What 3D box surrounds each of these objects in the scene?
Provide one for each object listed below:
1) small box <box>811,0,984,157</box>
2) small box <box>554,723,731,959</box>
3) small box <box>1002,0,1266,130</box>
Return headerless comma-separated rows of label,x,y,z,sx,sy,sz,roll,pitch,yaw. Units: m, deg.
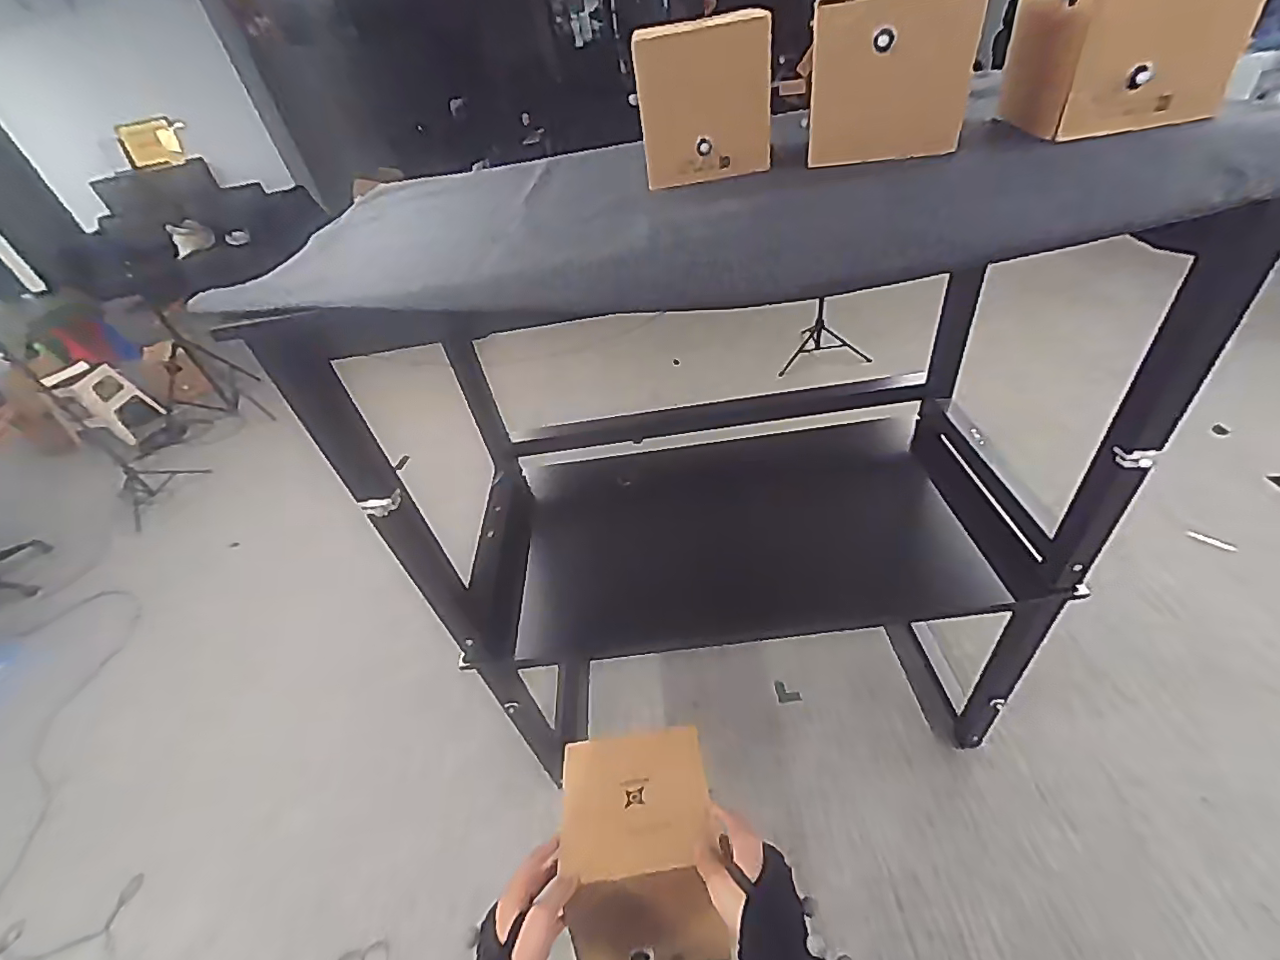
small box,0.311,-0.522,0.680,0.179,0.176,0.168,3,43,16
small box,0.003,0.417,0.618,0.168,0.176,0.179,-8,21,-1
small box,0.556,-0.521,0.623,0.168,0.176,0.179,-5,42,9
